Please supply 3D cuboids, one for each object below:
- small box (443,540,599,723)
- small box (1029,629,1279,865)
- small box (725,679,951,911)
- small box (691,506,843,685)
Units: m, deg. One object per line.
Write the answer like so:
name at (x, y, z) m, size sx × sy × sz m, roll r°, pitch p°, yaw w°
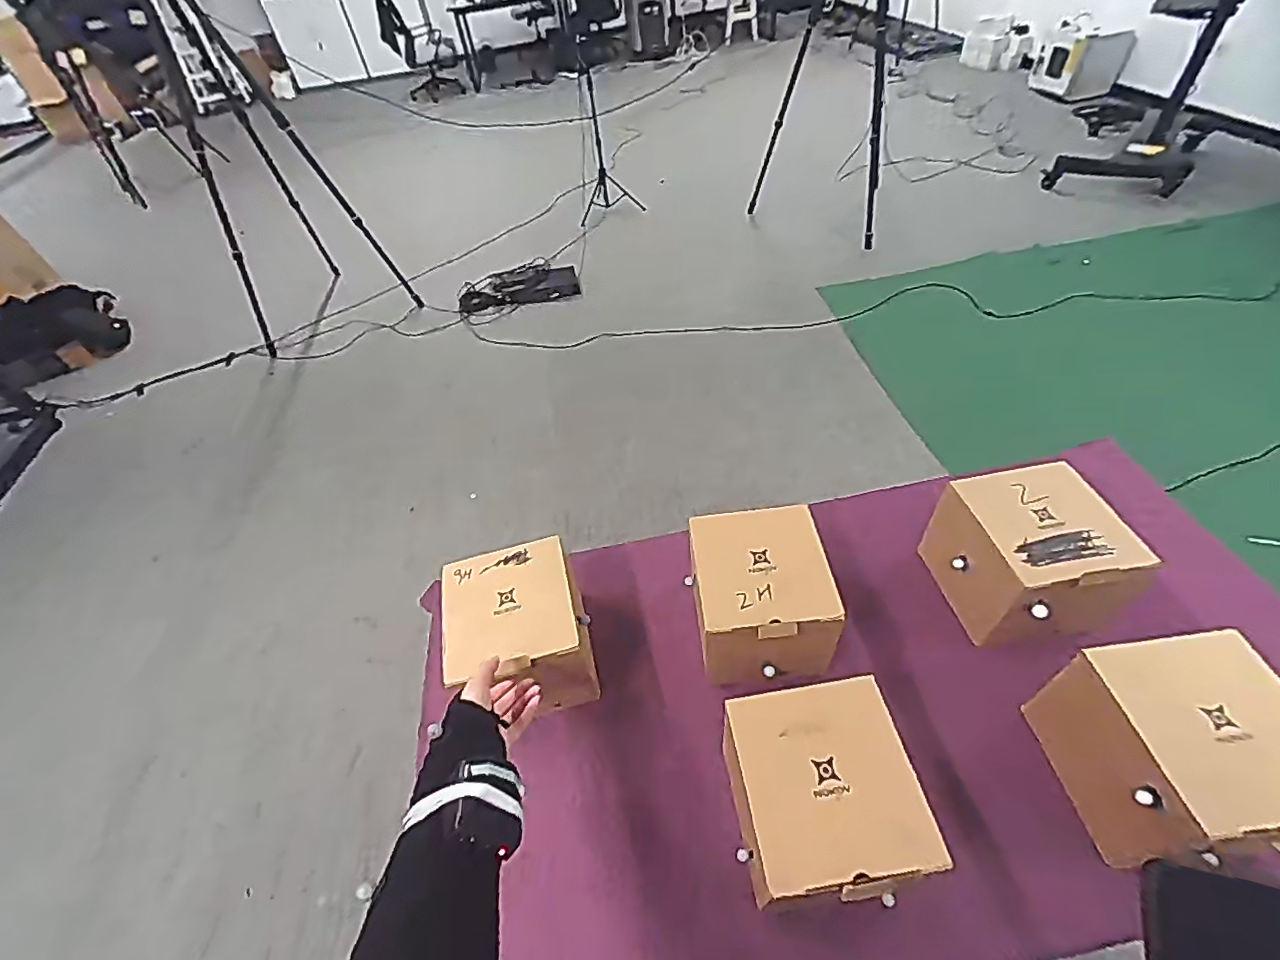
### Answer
small box at (-0.161, 0.217, 0.750) m, size 0.168 × 0.176 × 0.179 m, roll -15°, pitch 49°, yaw -5°
small box at (0.566, 0.285, 0.575) m, size 0.168 × 0.176 × 0.179 m, roll -9°, pitch 48°, yaw 2°
small box at (0.192, 0.343, 0.583) m, size 0.168 × 0.176 × 0.179 m, roll -10°, pitch 47°, yaw -1°
small box at (0.162, 0.162, 0.748) m, size 0.168 × 0.176 × 0.179 m, roll -7°, pitch 48°, yaw 3°
